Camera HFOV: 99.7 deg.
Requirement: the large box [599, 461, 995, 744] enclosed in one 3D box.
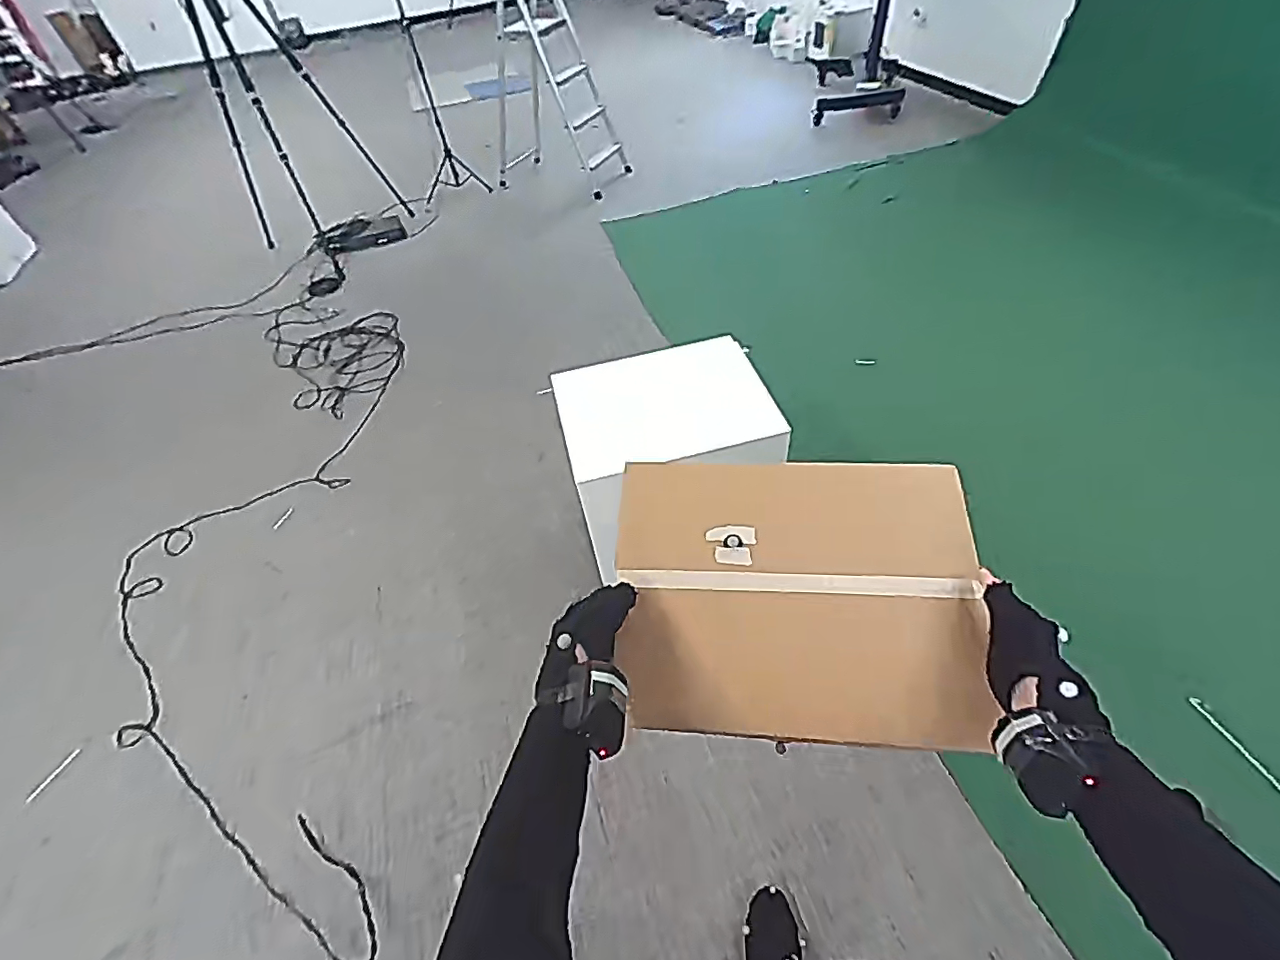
[{"bbox_3d":[0.179,0.180,0.747,0.408,0.320,0.320,0,64,8],"label":"large box"}]
